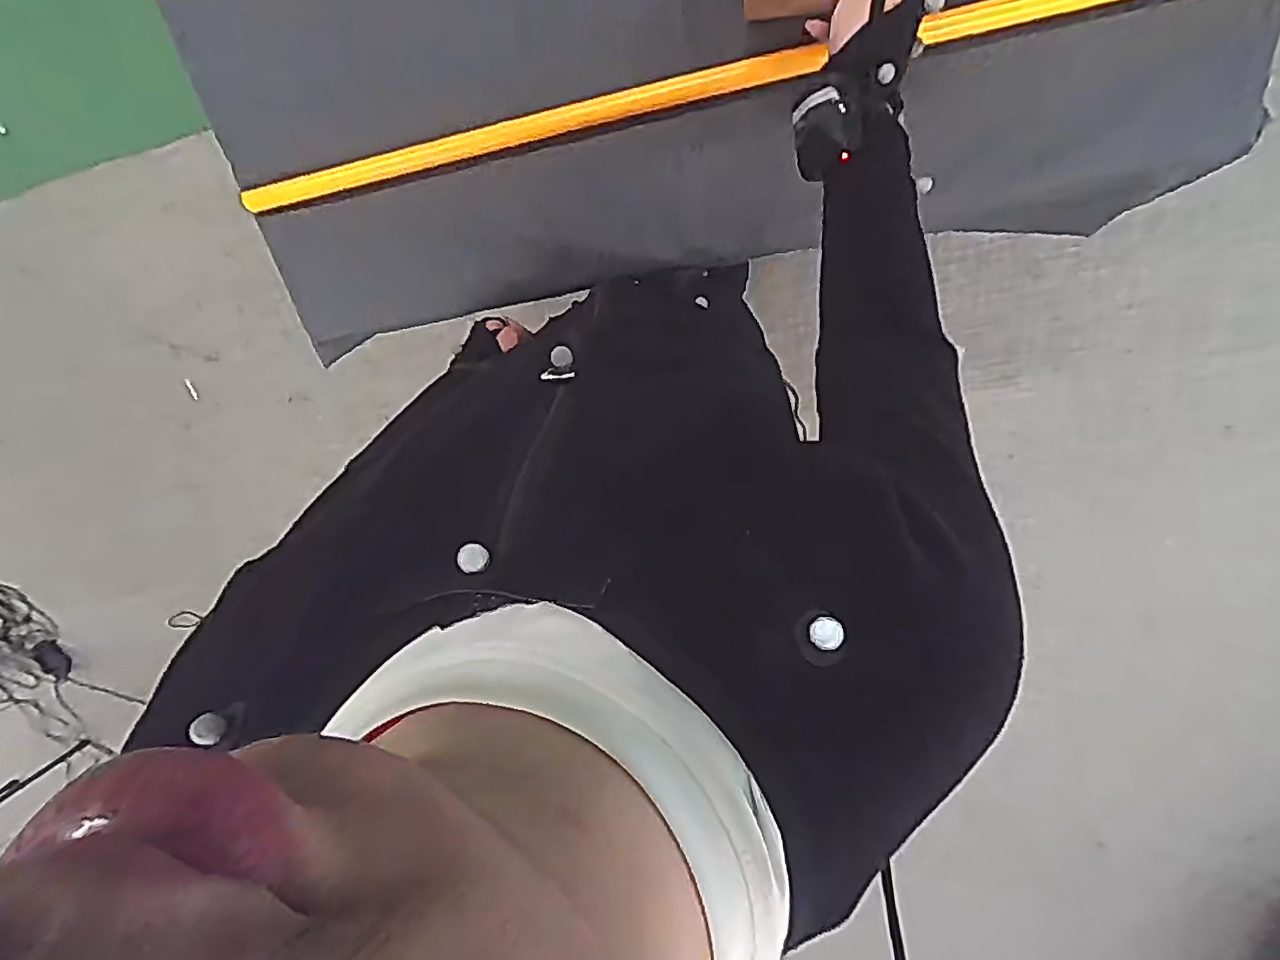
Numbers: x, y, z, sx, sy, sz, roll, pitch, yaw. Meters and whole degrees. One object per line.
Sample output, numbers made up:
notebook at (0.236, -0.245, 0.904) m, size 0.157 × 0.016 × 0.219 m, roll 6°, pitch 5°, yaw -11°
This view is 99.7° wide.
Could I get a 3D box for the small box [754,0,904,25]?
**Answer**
small box at (0.185, -0.546, 0.483) m, size 0.168 × 0.176 × 0.179 m, roll -3°, pitch 113°, yaw 12°
